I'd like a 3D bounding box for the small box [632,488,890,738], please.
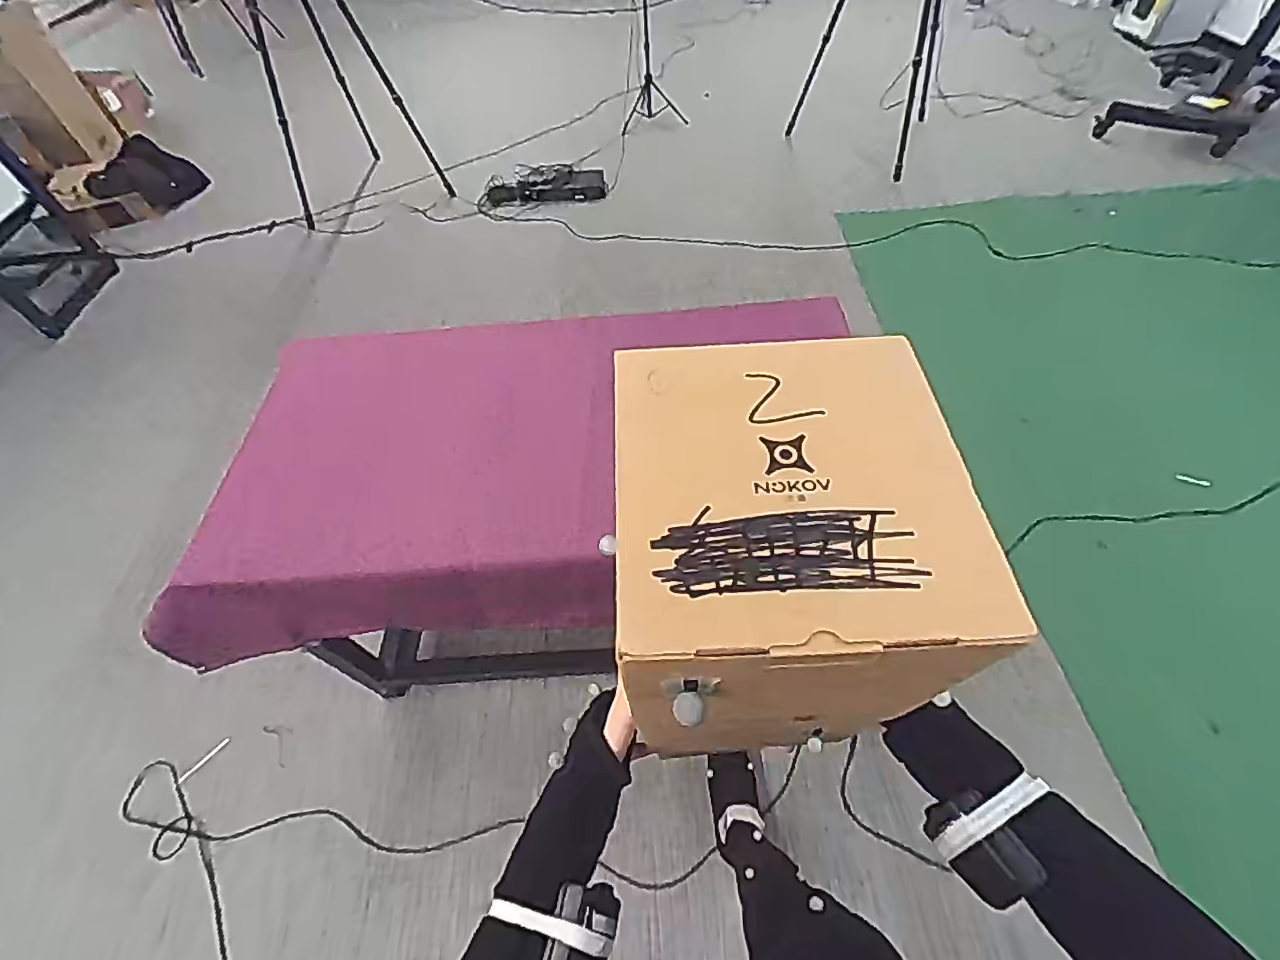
[{"bbox_3d":[0.086,0.124,0.479,0.179,0.176,0.168,-4,56,1],"label":"small box"}]
